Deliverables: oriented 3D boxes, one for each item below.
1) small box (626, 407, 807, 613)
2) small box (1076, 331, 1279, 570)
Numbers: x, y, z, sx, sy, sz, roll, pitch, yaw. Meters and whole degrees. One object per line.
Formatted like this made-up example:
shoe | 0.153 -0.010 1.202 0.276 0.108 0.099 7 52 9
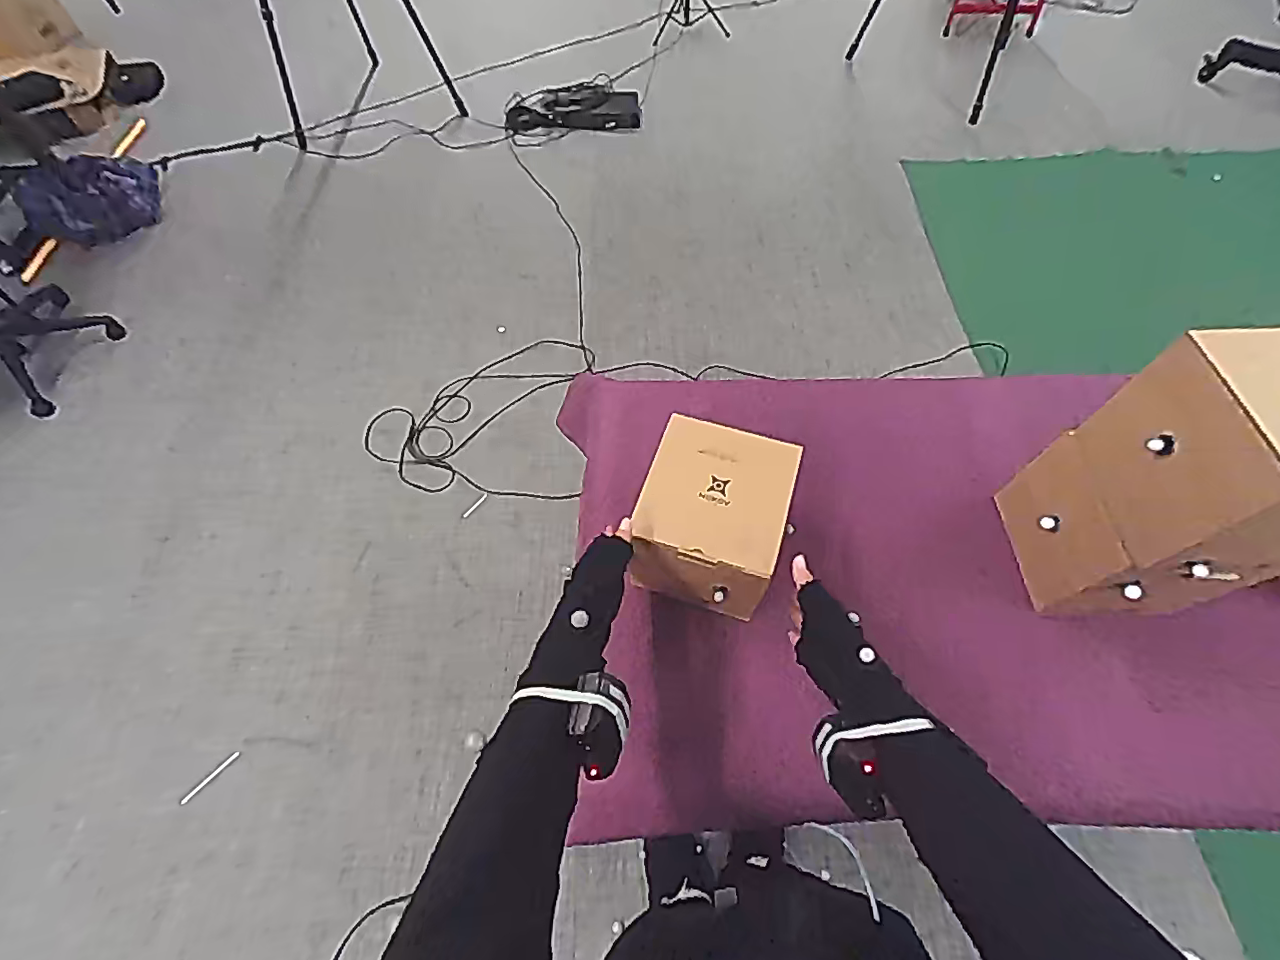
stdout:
small box | 0.092 0.044 0.670 0.168 0.176 0.179 16 61 10
small box | 0.583 -0.020 0.519 0.168 0.176 0.179 -1 58 1
